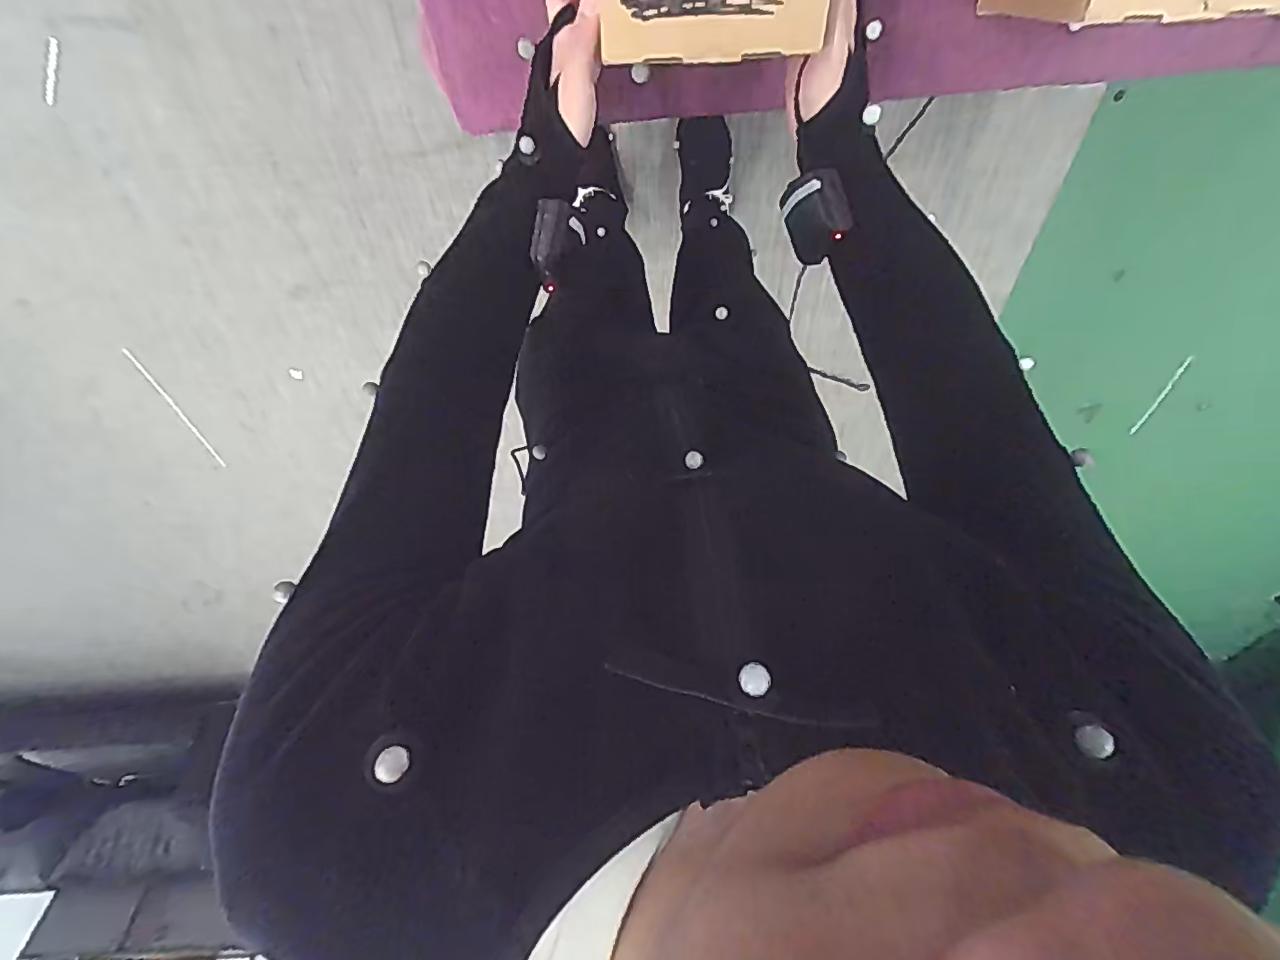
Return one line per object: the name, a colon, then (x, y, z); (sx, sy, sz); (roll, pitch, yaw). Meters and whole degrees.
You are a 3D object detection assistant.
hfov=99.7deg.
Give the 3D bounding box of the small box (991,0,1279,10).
small box: (0.389, -0.455, 0.383); (0.168, 0.176, 0.179); (-3, 134, 1)
